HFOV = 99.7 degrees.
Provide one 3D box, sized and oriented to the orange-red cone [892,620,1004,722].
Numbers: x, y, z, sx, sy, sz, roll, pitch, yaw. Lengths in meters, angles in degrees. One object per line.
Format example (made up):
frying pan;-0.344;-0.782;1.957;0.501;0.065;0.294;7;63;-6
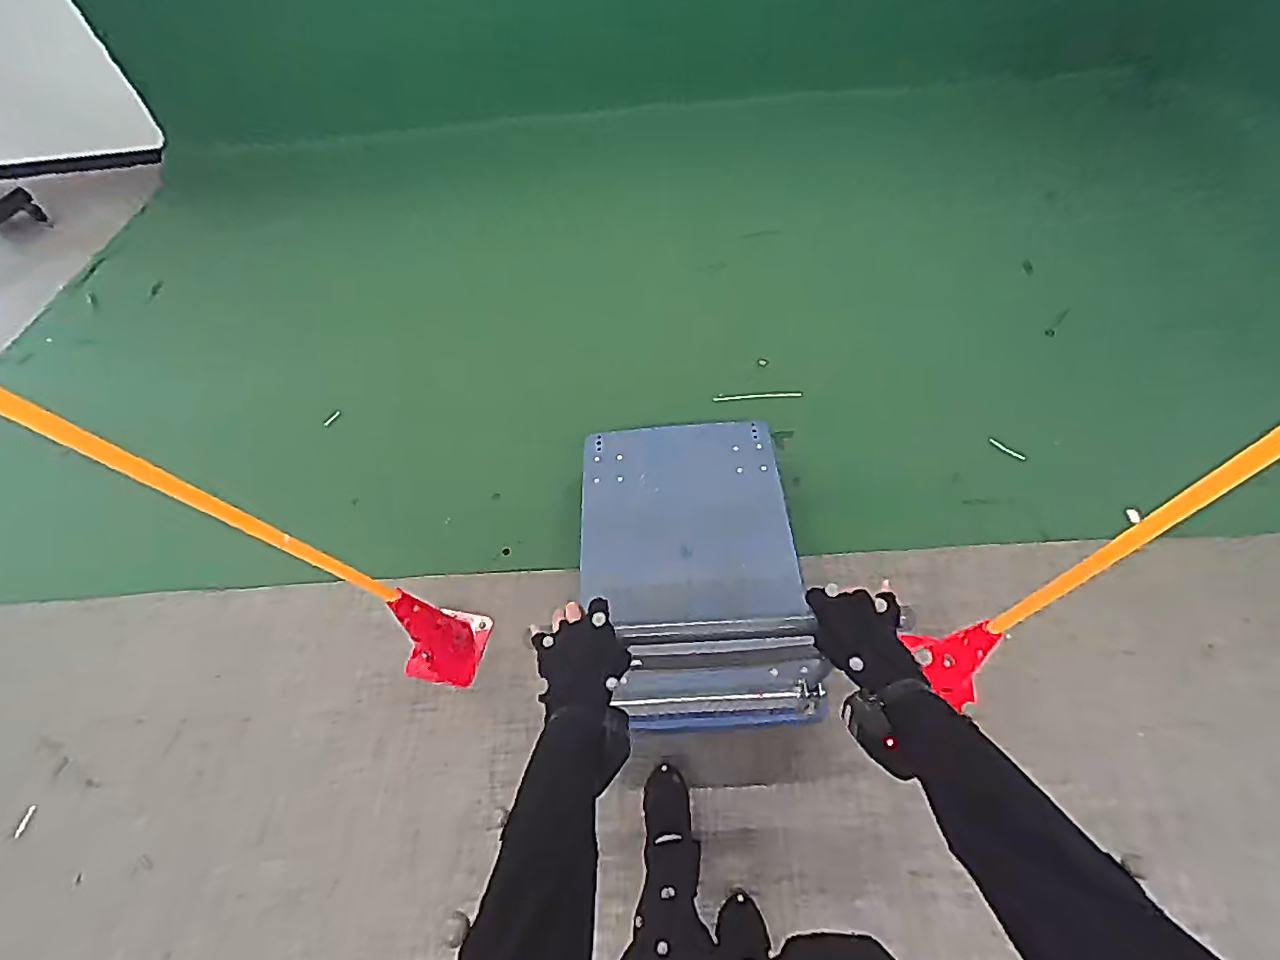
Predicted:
orange-red cone;0.736;0.404;1.239;0.198;0.360;0.199;5;56;10
